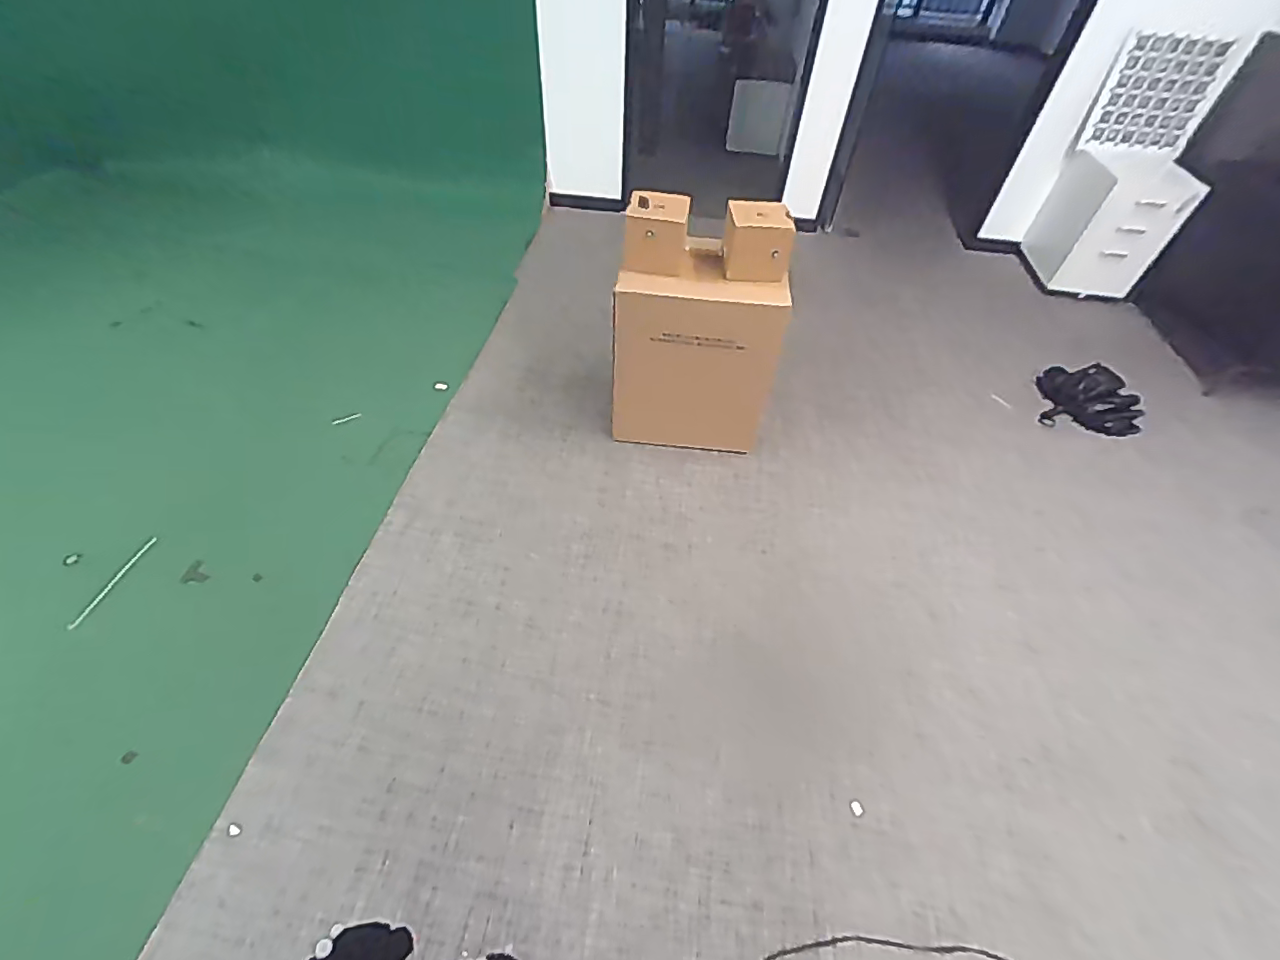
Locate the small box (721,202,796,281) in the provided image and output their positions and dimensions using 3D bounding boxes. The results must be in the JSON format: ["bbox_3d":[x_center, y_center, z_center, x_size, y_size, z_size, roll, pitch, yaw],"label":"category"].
[{"bbox_3d":[0.354,-0.723,1.645,0.179,0.176,0.168,-1,50,-2],"label":"small box"}]

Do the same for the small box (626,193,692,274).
[{"bbox_3d":[0.056,-0.749,1.648,0.179,0.176,0.168,9,52,4],"label":"small box"}]
